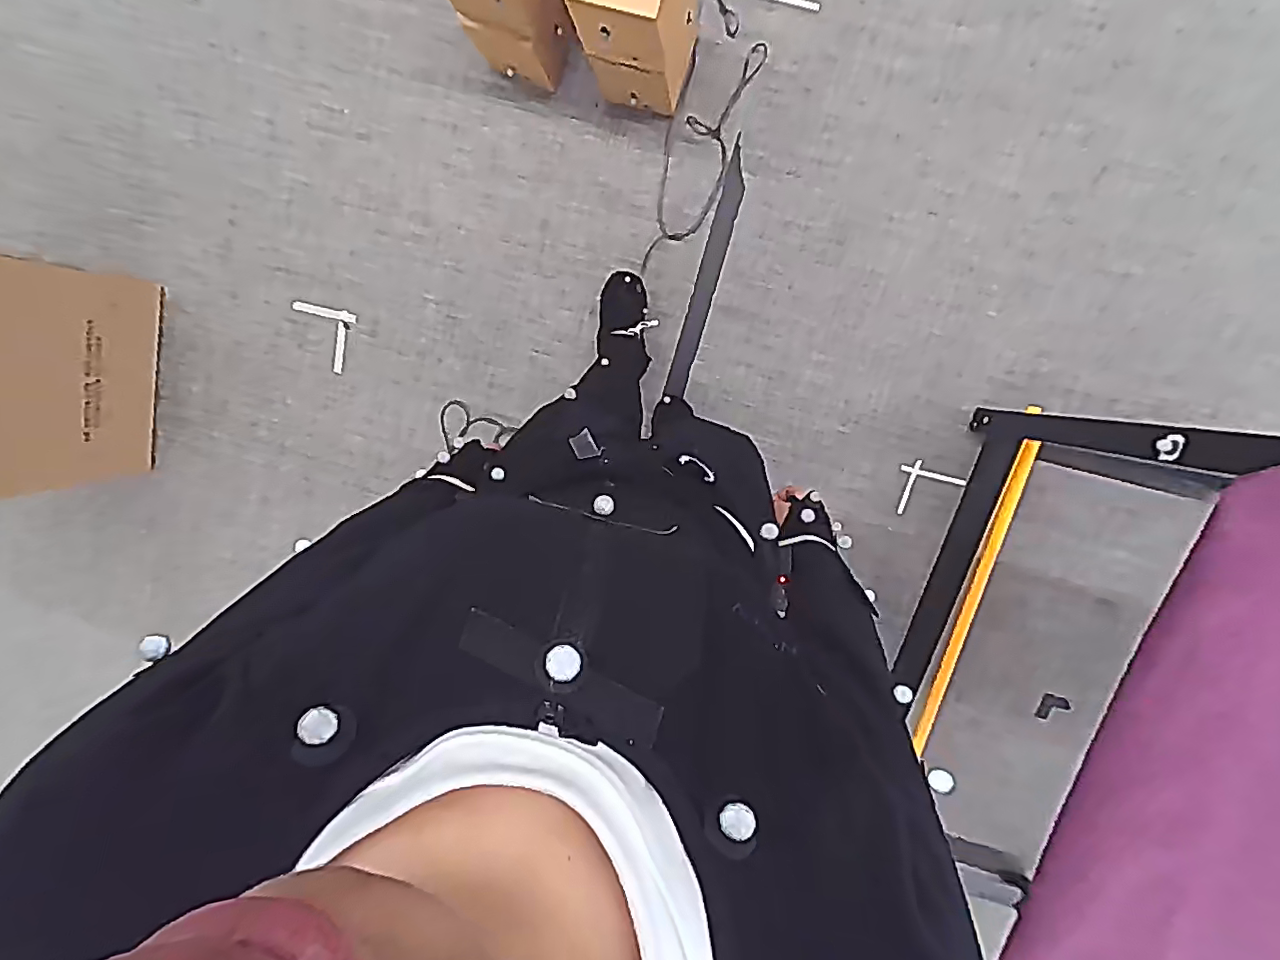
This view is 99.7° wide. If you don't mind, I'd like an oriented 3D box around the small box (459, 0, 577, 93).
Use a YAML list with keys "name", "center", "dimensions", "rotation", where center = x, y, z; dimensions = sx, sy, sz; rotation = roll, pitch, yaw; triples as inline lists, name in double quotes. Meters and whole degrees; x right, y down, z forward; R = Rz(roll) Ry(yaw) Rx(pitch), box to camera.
- name: "small box"
  center: [-0.242, -0.961, 1.121]
  dimensions: [0.168, 0.176, 0.179]
  rotation: [23, 103, 3]

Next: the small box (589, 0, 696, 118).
- name: "small box"
  center: [0.012, -0.888, 1.102]
  dimensions: [0.168, 0.176, 0.179]
  rotation: [18, 102, 5]

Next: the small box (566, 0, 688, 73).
- name: "small box"
  center: [-0.012, -0.862, 0.944]
  dimensions: [0.168, 0.176, 0.179]
  rotation: [18, 101, 5]
